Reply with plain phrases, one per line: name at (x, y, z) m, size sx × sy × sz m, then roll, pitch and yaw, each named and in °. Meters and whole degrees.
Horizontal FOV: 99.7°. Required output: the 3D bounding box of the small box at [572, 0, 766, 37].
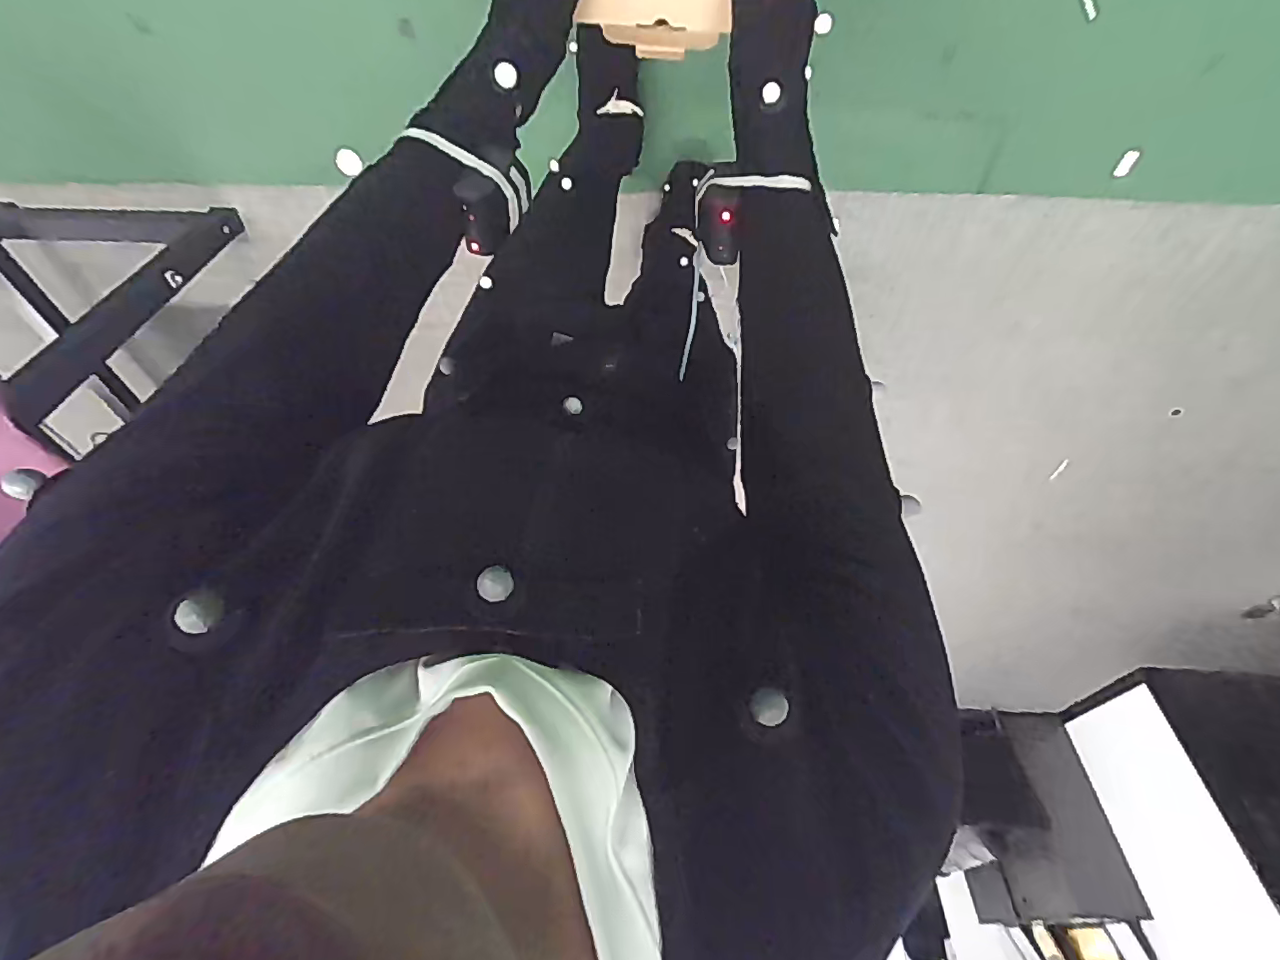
small box at (0.029, -0.507, 0.454) m, size 0.168 × 0.176 × 0.179 m, roll 3°, pitch 140°, yaw -3°
